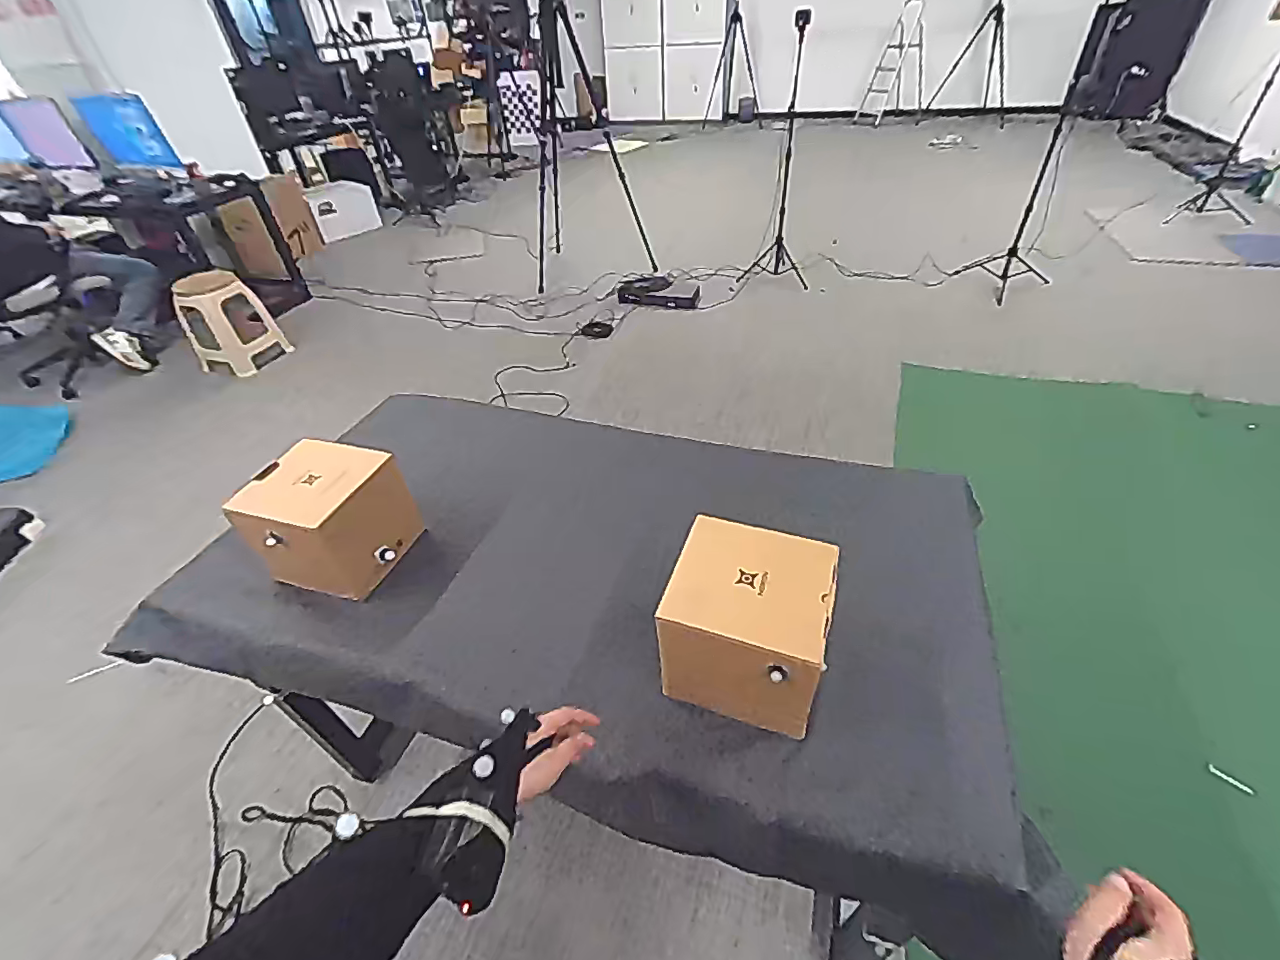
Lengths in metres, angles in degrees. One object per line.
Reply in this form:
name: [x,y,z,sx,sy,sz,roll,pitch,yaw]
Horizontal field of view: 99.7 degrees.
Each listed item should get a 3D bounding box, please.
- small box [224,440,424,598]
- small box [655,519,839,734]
small box: [-0.475,0.061,0.842,0.179,0.176,0.168,10,44,15]
small box: [0.129,0.176,0.655,0.179,0.176,0.168,12,43,18]
